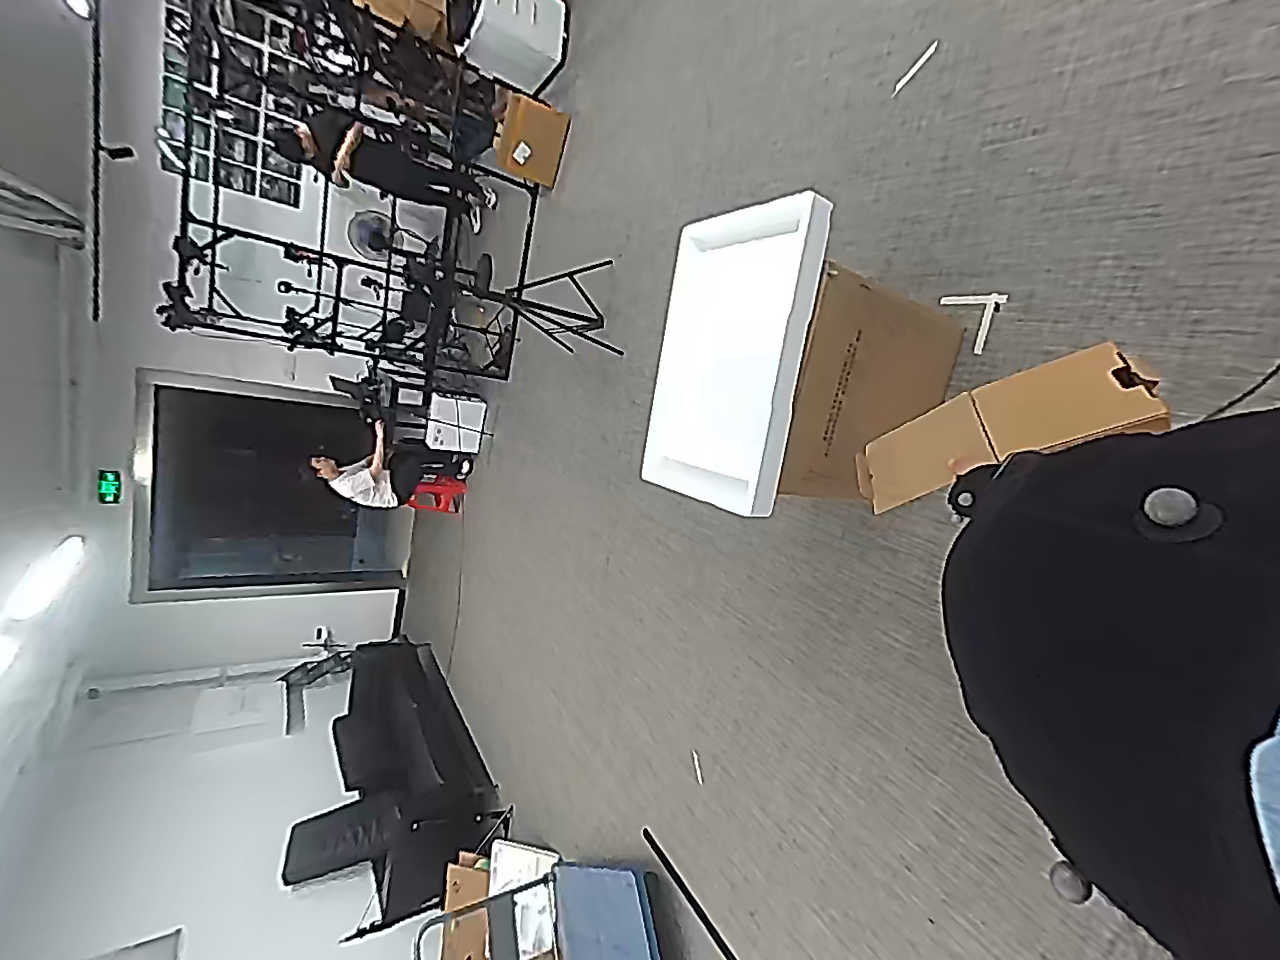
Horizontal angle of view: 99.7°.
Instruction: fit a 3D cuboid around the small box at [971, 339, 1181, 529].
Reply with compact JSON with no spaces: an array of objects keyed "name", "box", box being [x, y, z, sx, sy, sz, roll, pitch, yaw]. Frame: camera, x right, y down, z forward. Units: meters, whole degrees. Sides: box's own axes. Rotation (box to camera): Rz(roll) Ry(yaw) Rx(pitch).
[{"name":"small box","box":[0.597,-0.055,0.752,0.179,0.176,0.168,-22,35,32]}]
